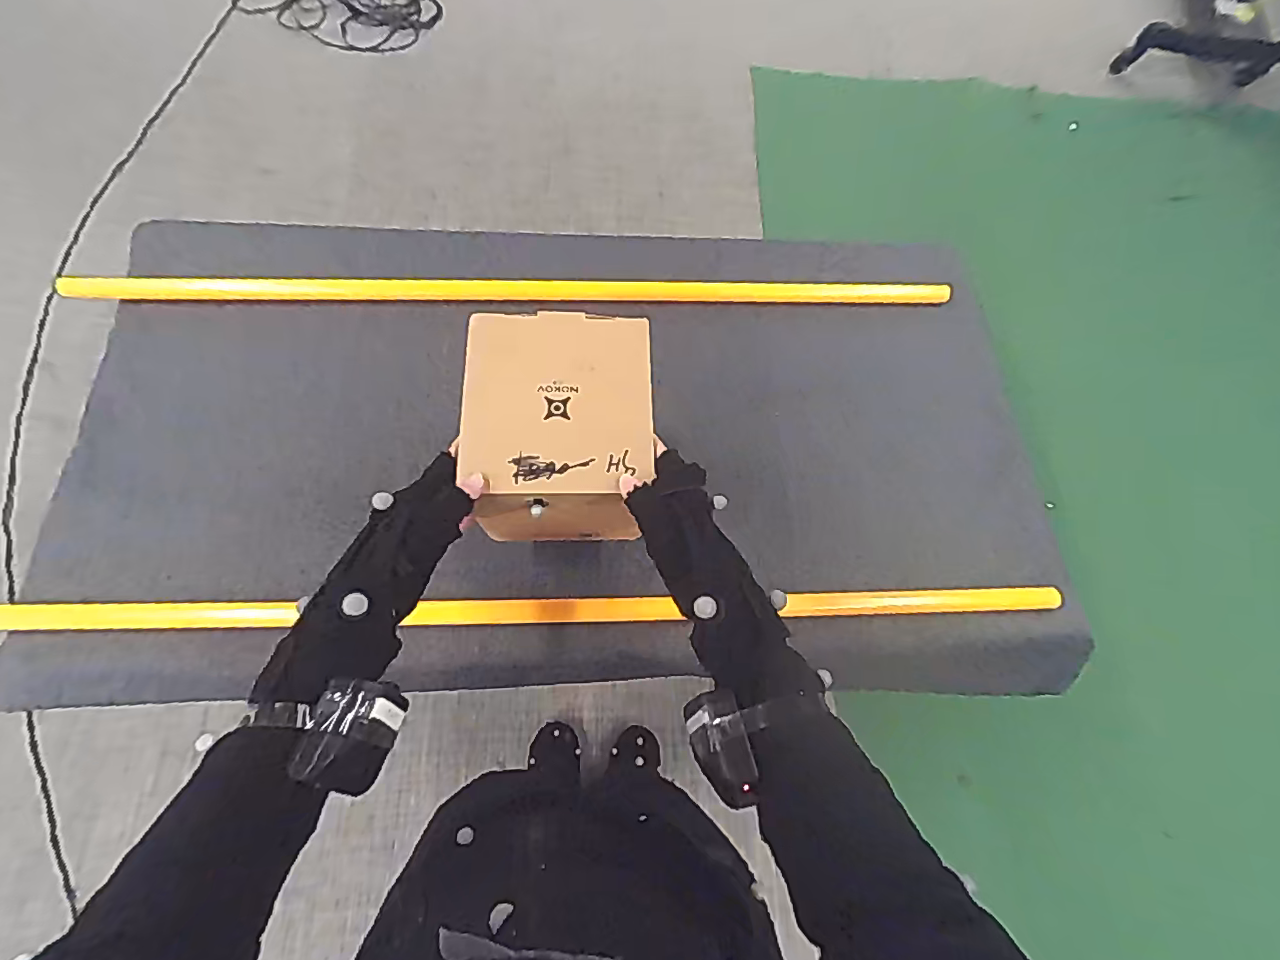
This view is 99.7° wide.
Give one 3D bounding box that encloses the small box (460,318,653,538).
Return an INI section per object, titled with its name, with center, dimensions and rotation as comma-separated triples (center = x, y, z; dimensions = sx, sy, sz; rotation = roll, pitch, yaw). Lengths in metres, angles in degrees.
[small box]
center = -0.078, -0.044, 0.561
dimensions = 0.168, 0.176, 0.179
rotation = -1, 71, -4
